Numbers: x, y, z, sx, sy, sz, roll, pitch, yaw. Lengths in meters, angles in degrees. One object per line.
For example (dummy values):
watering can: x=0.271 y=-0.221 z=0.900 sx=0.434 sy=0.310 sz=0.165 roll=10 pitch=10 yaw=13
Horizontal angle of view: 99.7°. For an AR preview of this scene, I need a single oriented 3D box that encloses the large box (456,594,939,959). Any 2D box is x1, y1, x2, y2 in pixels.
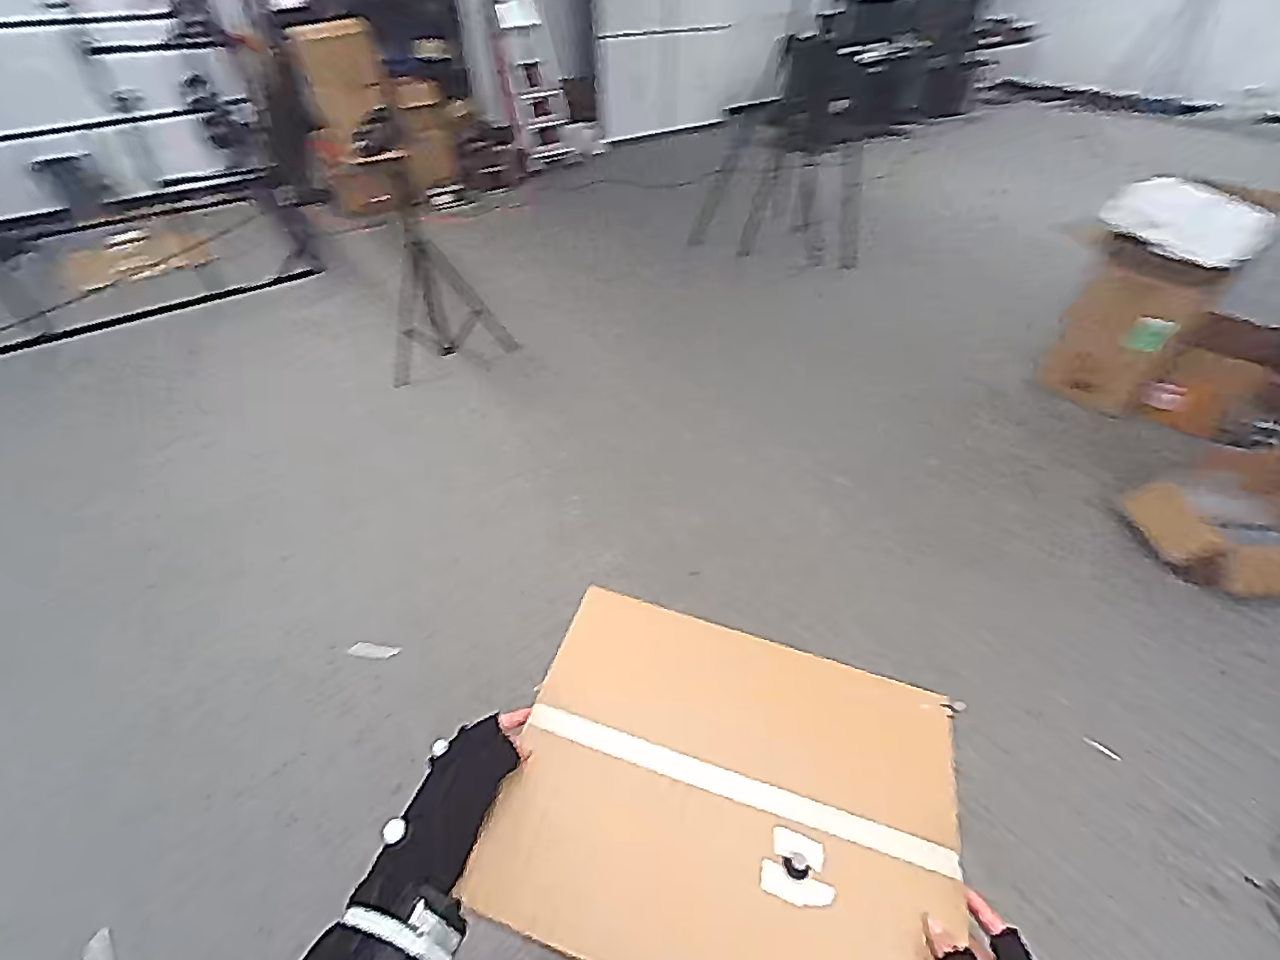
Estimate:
large box: x=0.067 y=0.389 z=0.625 sx=0.408 sy=0.320 sz=0.320 roll=15 pitch=48 yaw=11
